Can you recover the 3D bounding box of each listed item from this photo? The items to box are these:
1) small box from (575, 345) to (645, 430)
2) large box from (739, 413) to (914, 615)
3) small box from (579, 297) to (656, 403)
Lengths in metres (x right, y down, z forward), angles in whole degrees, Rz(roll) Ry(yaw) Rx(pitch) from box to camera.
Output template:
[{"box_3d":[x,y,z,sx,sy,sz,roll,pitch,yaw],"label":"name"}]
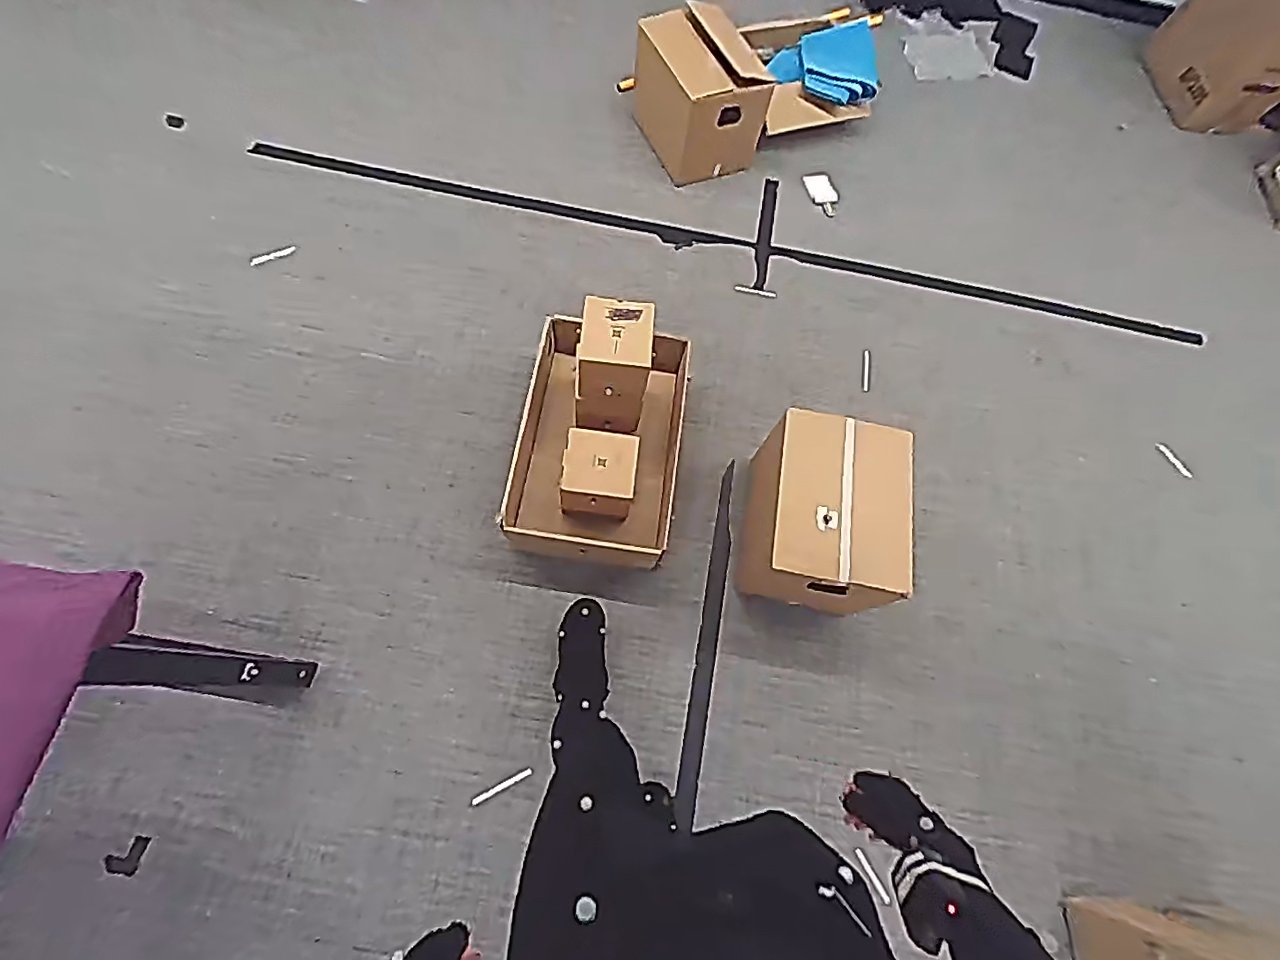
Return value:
[{"box_3d":[-0.083,-0.243,1.457,0.179,0.176,0.168,2,70,-6],"label":"small box"},{"box_3d":[0.453,0.098,1.358,0.320,0.320,0.408,11,69,-1],"label":"large box"},{"box_3d":[-0.057,-0.310,1.307,0.168,0.176,0.179,5,70,-4],"label":"small box"}]
